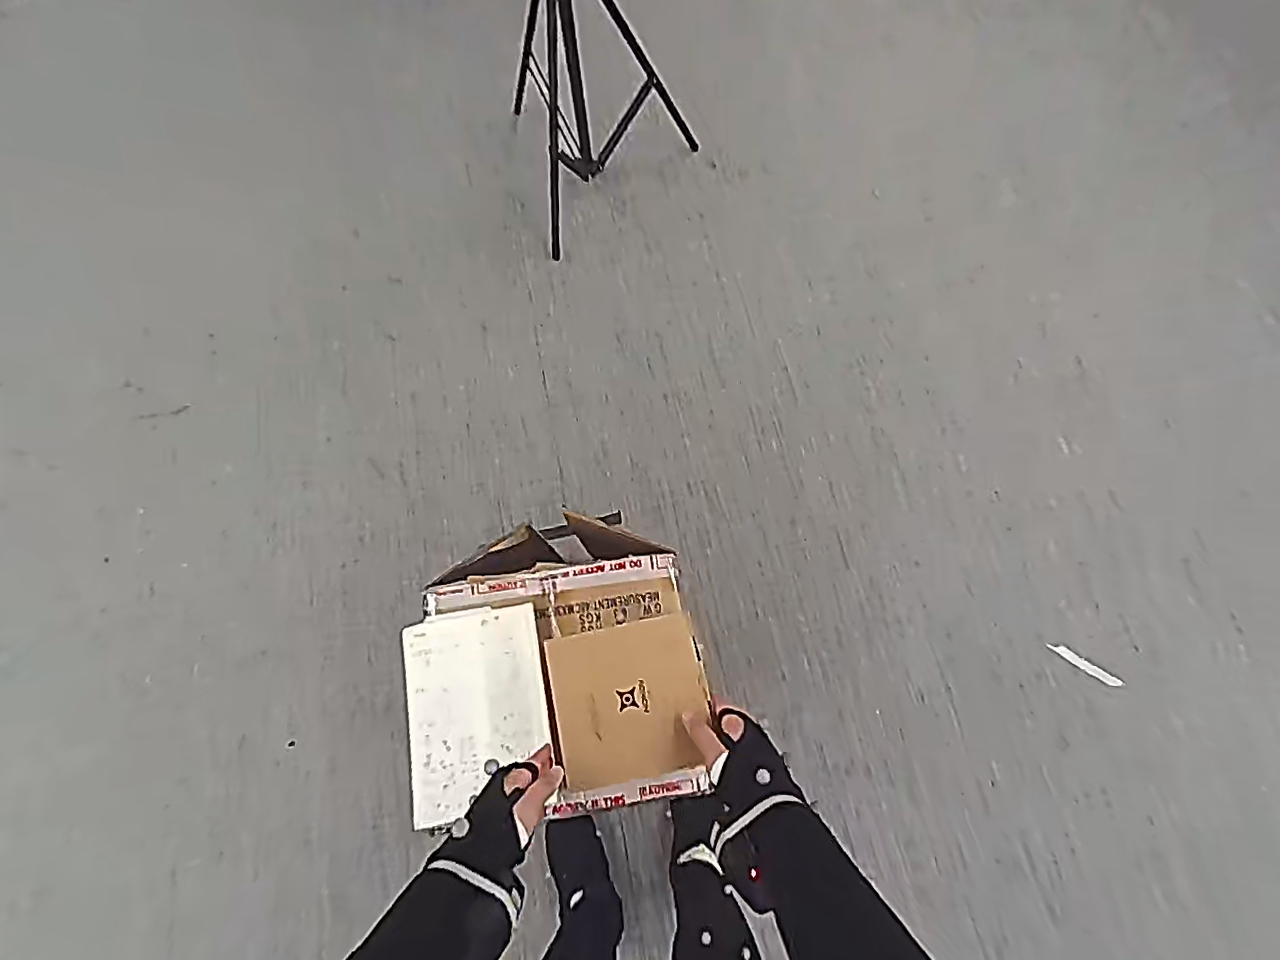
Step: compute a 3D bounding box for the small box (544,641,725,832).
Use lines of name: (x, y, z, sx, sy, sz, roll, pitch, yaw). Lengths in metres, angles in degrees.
small box: (-0.009, 0.300, 0.673, 0.179, 0.176, 0.168, -12, 74, -3)
